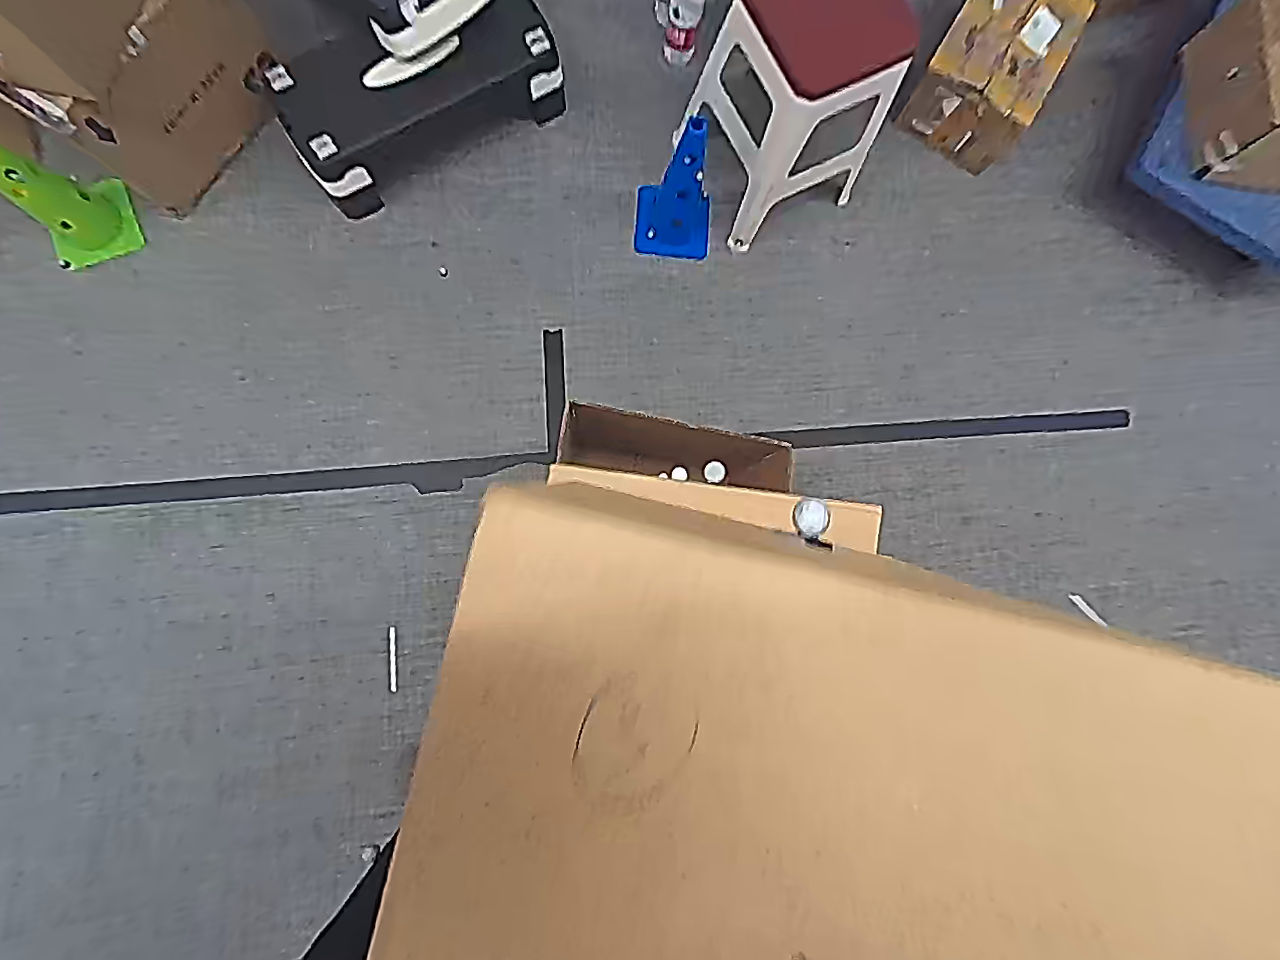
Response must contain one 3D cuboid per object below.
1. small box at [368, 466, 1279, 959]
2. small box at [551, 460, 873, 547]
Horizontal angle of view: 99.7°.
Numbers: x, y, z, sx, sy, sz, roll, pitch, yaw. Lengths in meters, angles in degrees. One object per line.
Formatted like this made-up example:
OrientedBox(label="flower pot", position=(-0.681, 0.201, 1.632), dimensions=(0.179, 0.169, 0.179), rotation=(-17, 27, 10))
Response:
OrientedBox(label="small box", position=(0.027, 0.100, 0.184), dimensions=(0.168, 0.176, 0.179), rotation=(14, 90, -1))
OrientedBox(label="small box", position=(0.023, 0.086, 0.348), dimensions=(0.168, 0.176, 0.179), rotation=(8, 90, -2))
